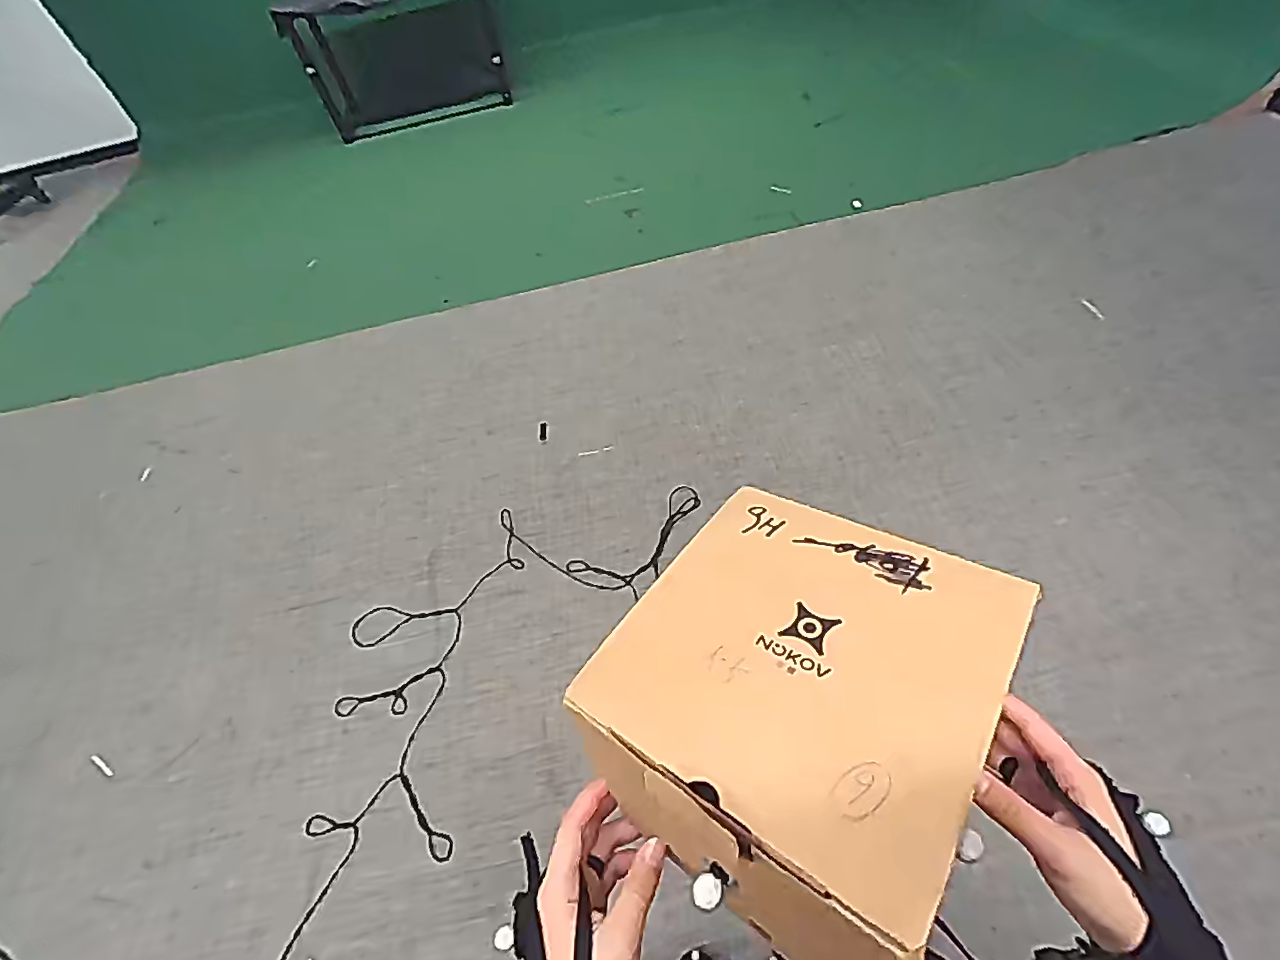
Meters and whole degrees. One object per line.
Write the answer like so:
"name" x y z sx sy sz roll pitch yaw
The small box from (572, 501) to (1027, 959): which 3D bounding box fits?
"small box" 0.093 0.148 0.320 0.168 0.176 0.179 21 50 34
